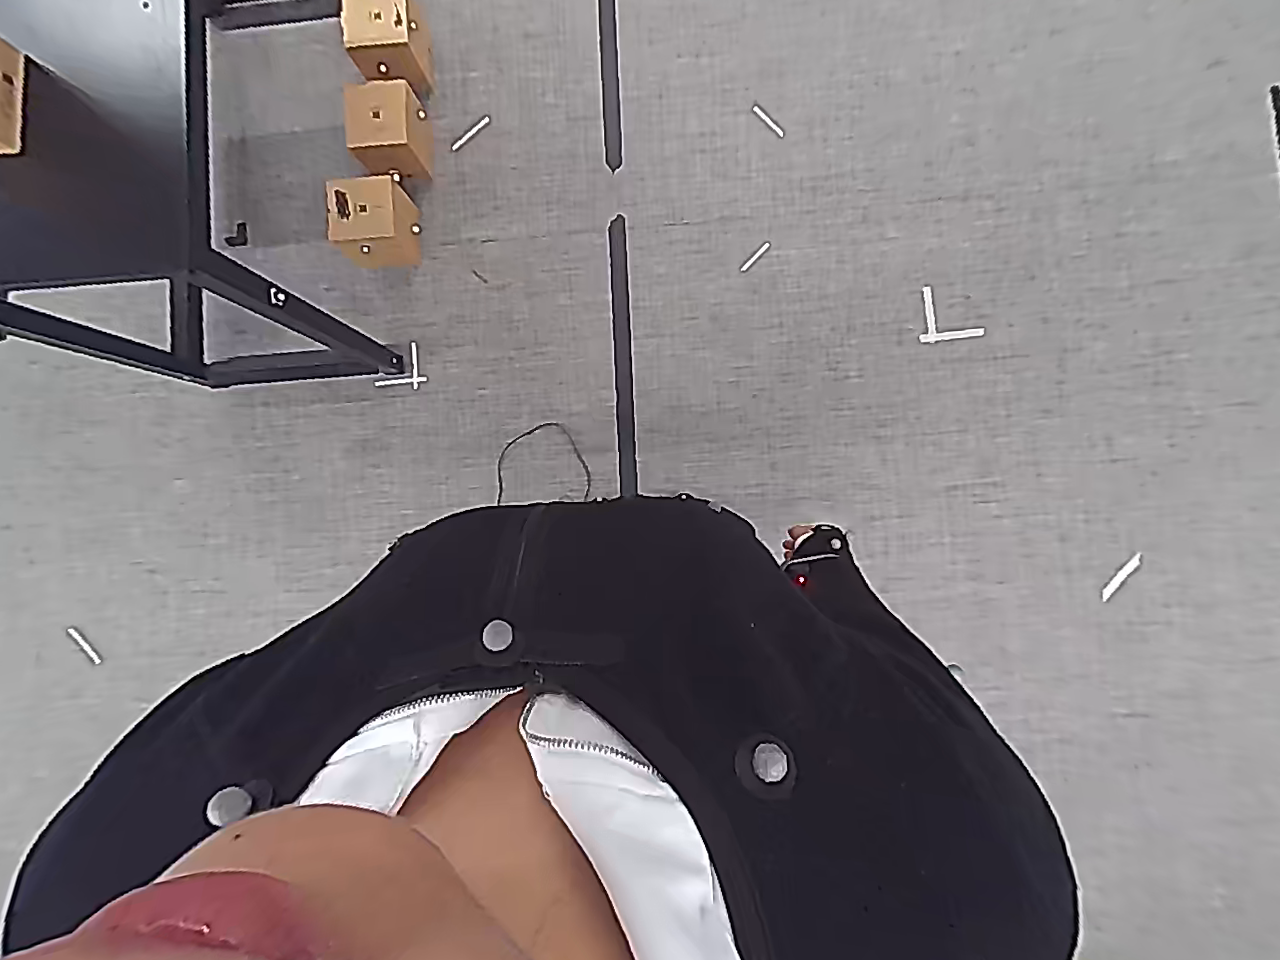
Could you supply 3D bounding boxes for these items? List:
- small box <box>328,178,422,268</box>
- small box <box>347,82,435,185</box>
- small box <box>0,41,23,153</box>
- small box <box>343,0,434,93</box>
[{"bbox_3d":[-0.728,-0.703,1.495,0.179,0.176,0.168,-4,88,1],"label":"small box"},{"bbox_3d":[-0.689,-0.958,1.506,0.168,0.176,0.179,-4,88,3],"label":"small box"},{"bbox_3d":[-1.058,-0.596,0.775,0.179,0.176,0.168,0,87,3],"label":"small box"},{"bbox_3d":[-0.700,-1.220,1.516,0.179,0.176,0.168,-4,88,3],"label":"small box"}]
